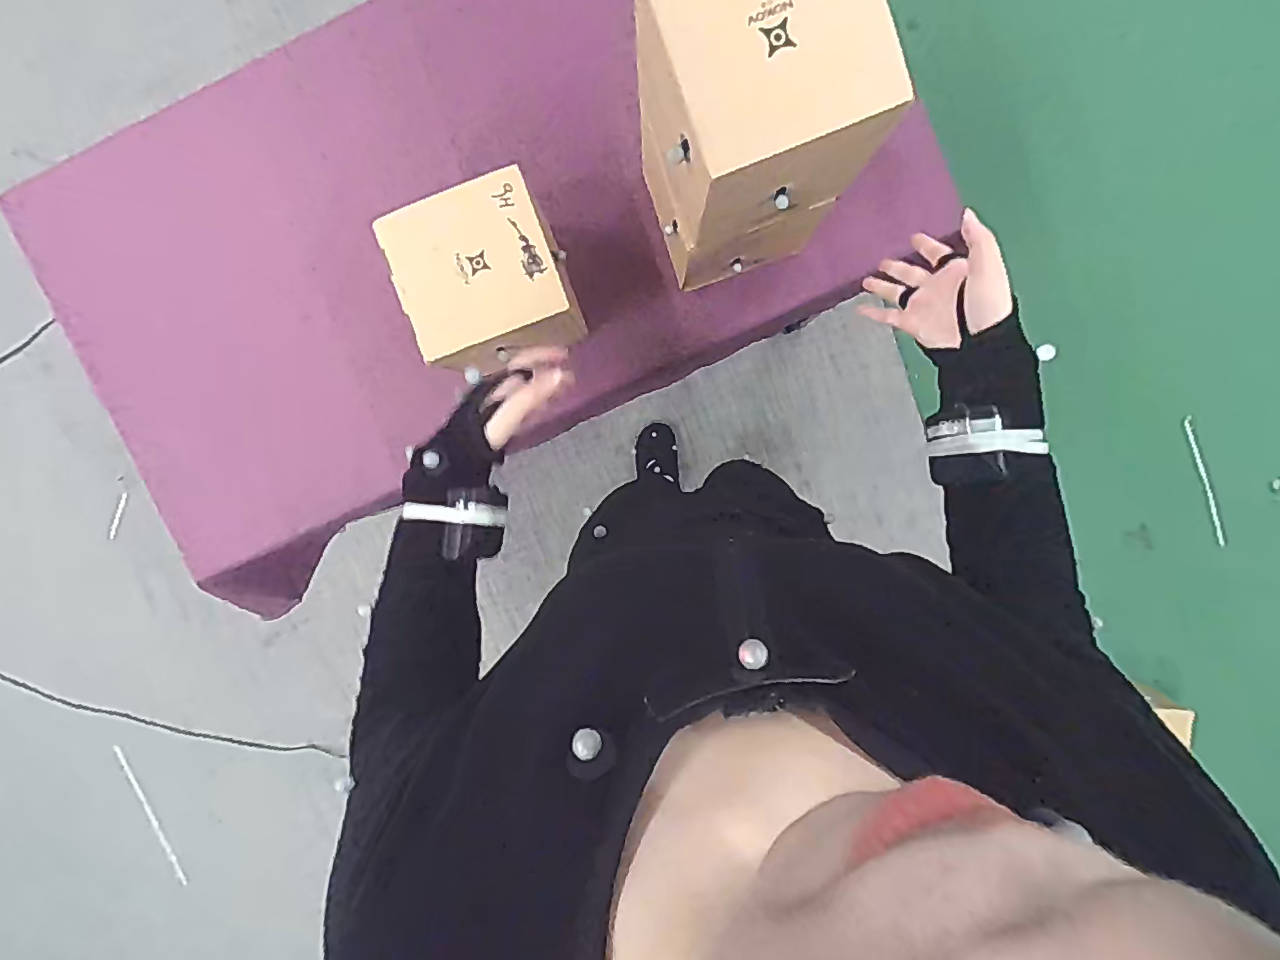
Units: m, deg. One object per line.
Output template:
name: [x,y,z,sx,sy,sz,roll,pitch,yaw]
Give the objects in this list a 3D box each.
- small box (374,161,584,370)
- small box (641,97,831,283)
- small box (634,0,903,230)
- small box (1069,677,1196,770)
small box: [-0.183,-0.246,0.672,0.179,0.176,0.168,-20,94,3]
small box: [0.103,-0.367,0.654,0.168,0.176,0.179,-19,95,3]
small box: [0.100,-0.353,0.490,0.168,0.176,0.179,-20,94,3]
small box: [1.299,0.639,1.437,0.179,0.176,0.168,3,95,1]
